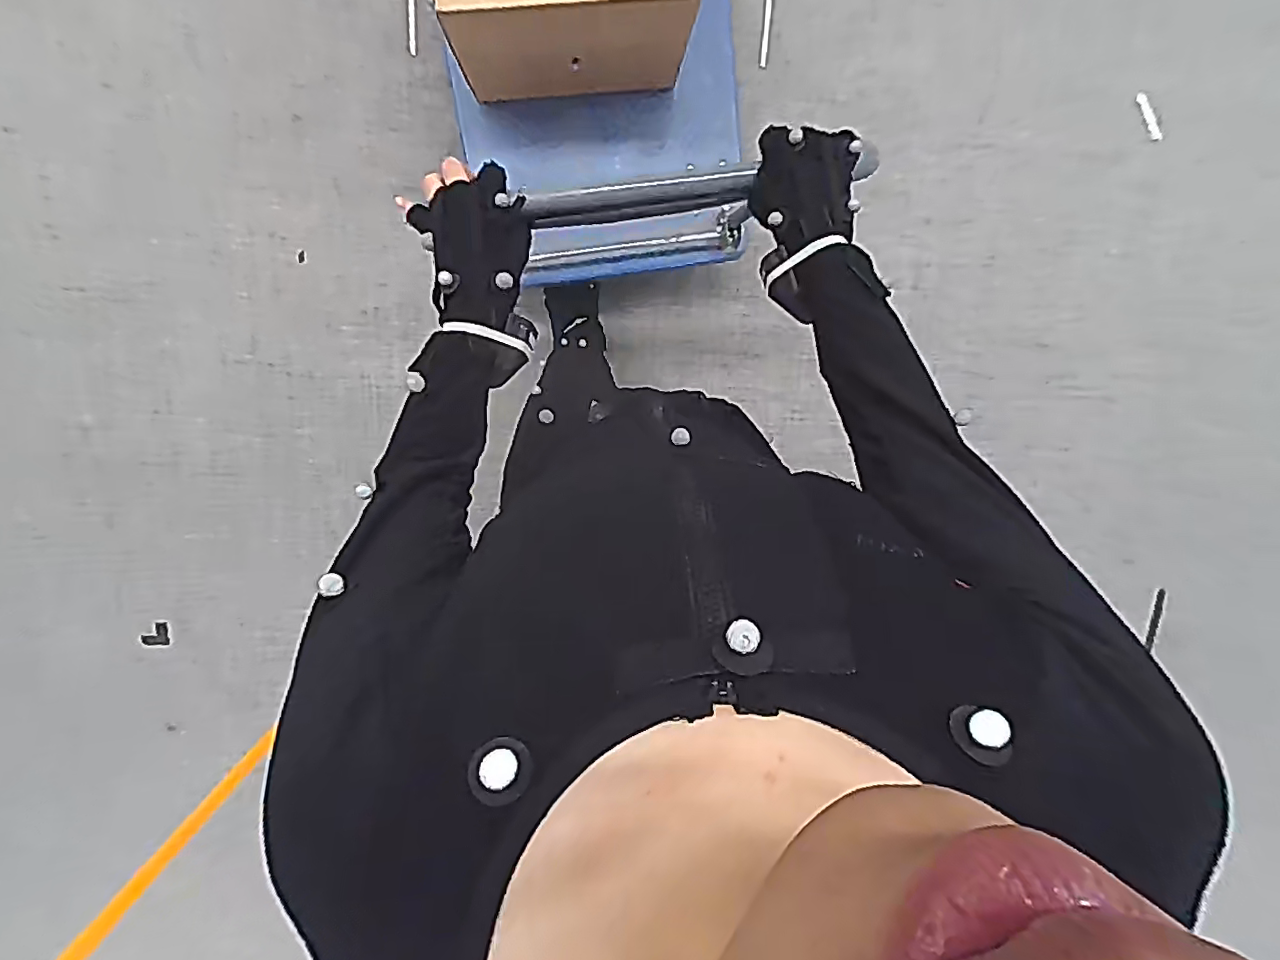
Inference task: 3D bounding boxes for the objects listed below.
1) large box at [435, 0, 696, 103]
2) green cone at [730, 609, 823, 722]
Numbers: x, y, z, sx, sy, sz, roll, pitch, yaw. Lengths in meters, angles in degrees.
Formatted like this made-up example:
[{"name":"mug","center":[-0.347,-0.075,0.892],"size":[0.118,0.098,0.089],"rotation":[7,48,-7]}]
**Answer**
[{"name":"large box","center":[-0.132,-0.898,0.930],"size":[0.408,0.320,0.320],"rotation":[-6,104,-2]},{"name":"green cone","center":[0.393,0.522,1.455],"size":[0.202,0.368,0.200],"rotation":[6,103,-7]}]
